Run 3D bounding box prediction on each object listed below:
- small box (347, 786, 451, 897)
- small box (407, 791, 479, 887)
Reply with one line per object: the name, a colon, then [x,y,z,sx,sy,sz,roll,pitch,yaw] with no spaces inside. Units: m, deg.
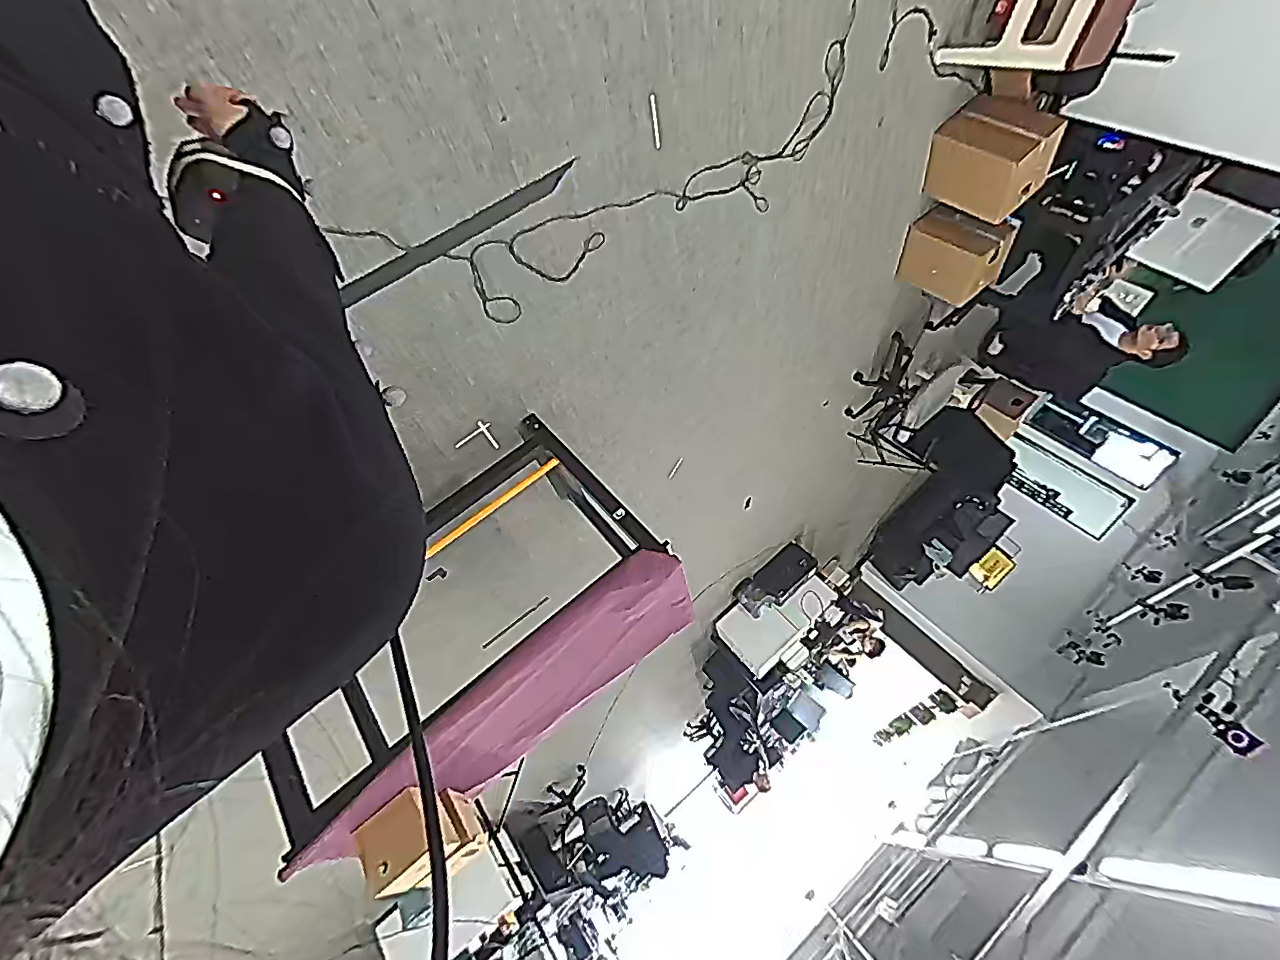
small box: [-0.643,0.952,1.432,0.179,0.176,0.168,-38,151,-16]
small box: [-0.612,1.058,1.600,0.179,0.176,0.168,-34,146,-18]
